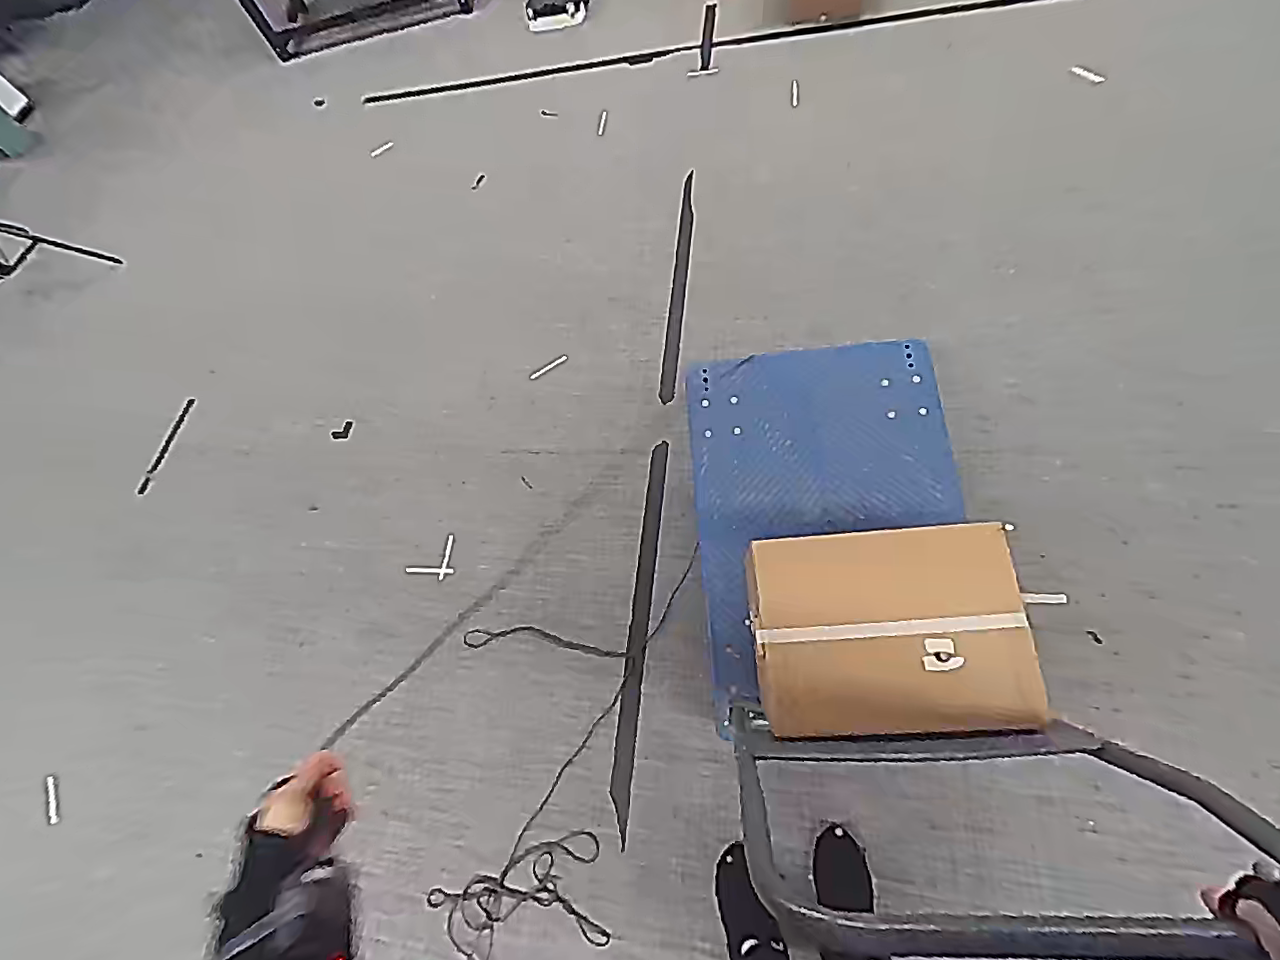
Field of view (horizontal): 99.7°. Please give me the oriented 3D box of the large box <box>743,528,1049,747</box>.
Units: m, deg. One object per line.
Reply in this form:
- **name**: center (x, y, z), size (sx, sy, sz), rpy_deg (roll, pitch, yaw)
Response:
- **large box**: center (0.415, 0.284, 0.997), size (0.408, 0.320, 0.320), rpy_deg (-5, 75, 6)
